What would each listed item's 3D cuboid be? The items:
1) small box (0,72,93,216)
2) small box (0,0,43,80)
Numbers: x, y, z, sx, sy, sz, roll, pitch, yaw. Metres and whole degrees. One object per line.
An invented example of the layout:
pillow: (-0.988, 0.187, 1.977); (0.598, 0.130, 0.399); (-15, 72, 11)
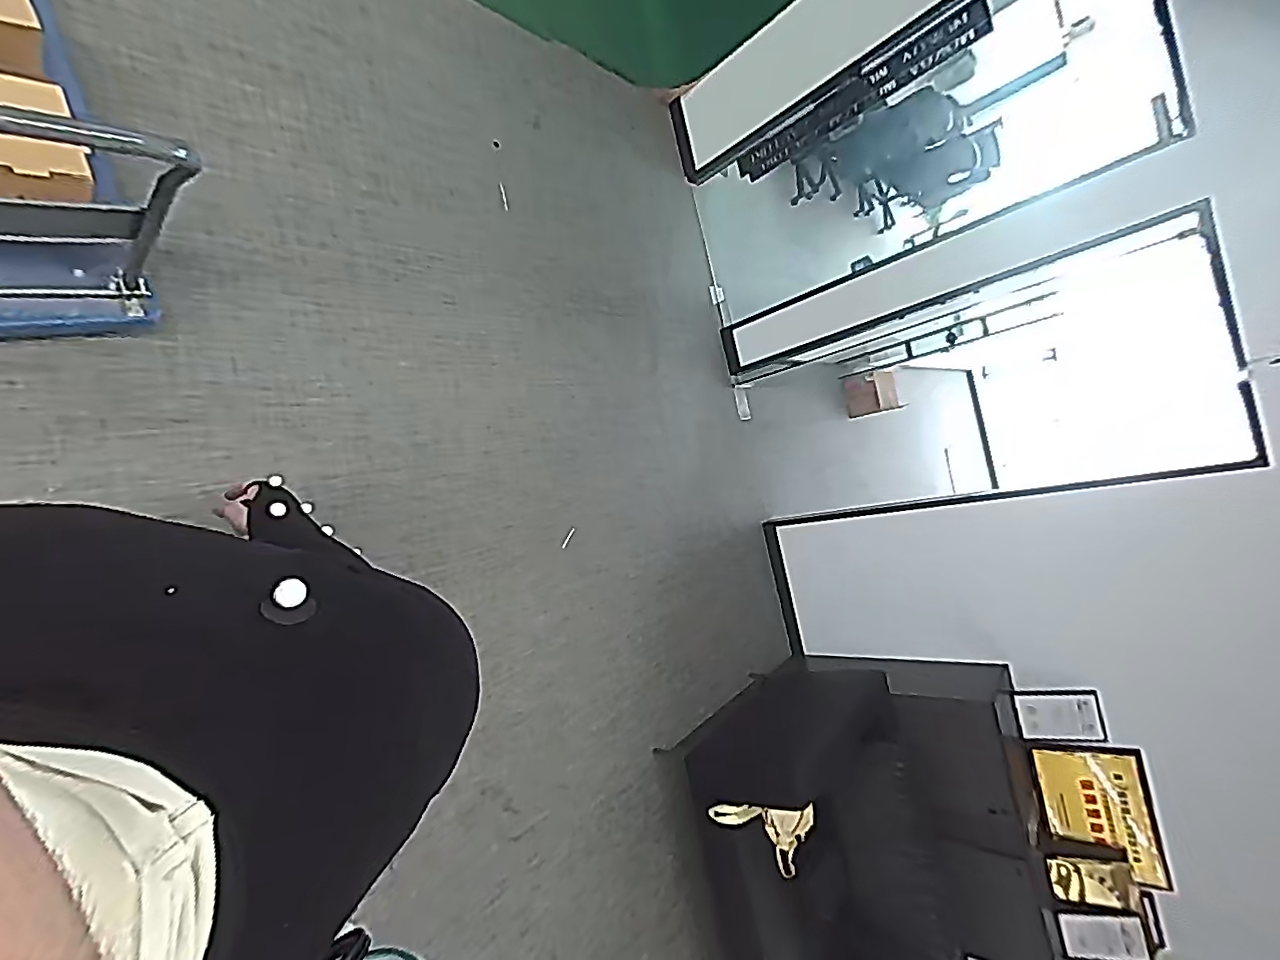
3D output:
small box: (-1.178, -0.632, 1.019); (0.168, 0.176, 0.179); (-20, 97, -48)
small box: (-1.252, -0.891, 0.993); (0.168, 0.176, 0.179); (-27, 102, -46)
